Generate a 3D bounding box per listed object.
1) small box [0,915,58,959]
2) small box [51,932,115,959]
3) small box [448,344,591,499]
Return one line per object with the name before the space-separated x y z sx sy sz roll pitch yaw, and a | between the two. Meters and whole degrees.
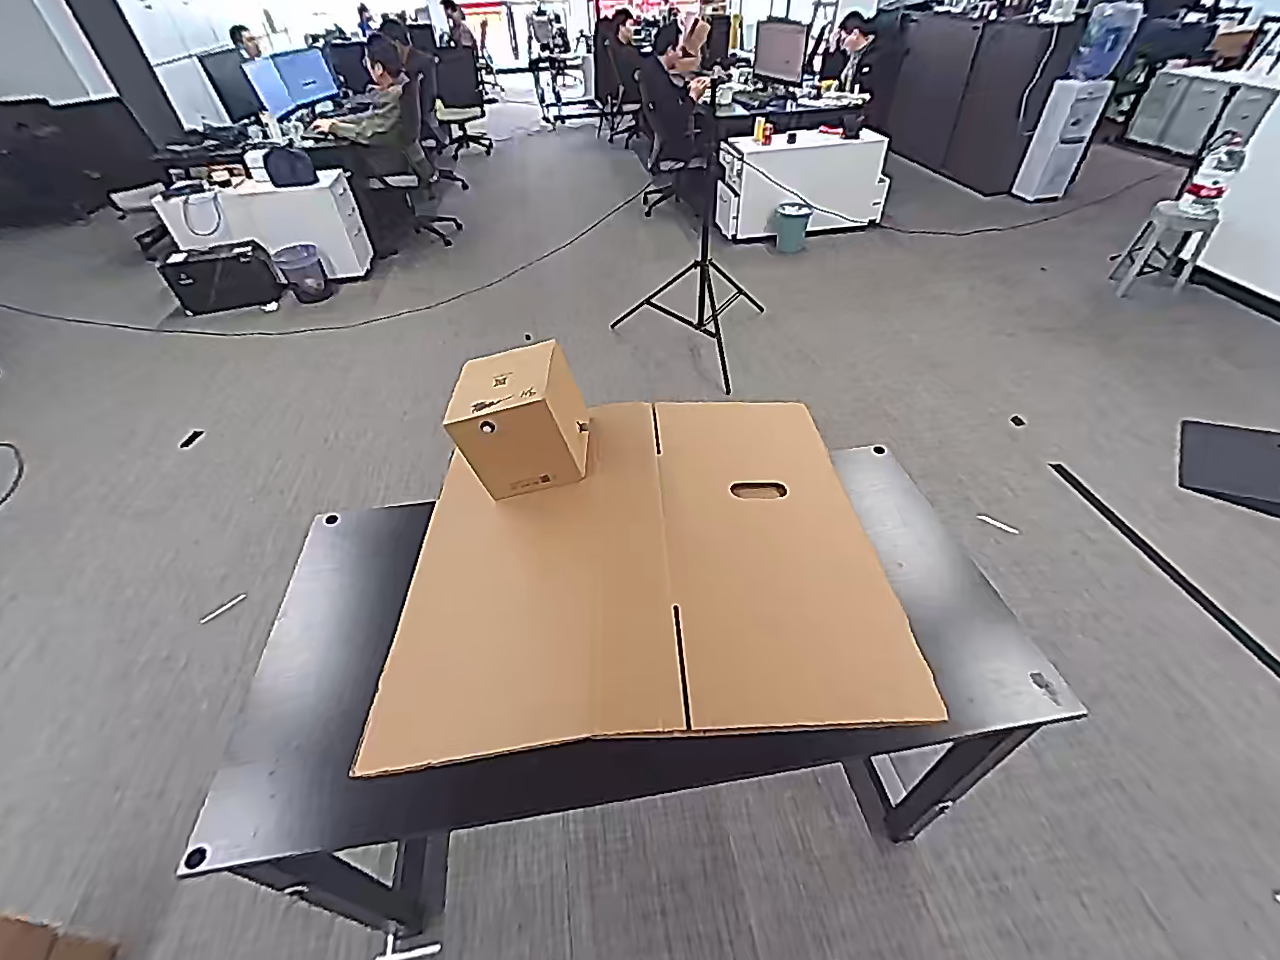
small box | -1.208 0.906 0.952 0.168 0.176 0.179 -12 43 -11
small box | -1.199 1.028 1.059 0.168 0.176 0.179 -10 44 -7
small box | -0.187 -0.095 0.902 0.168 0.176 0.179 -13 41 10
